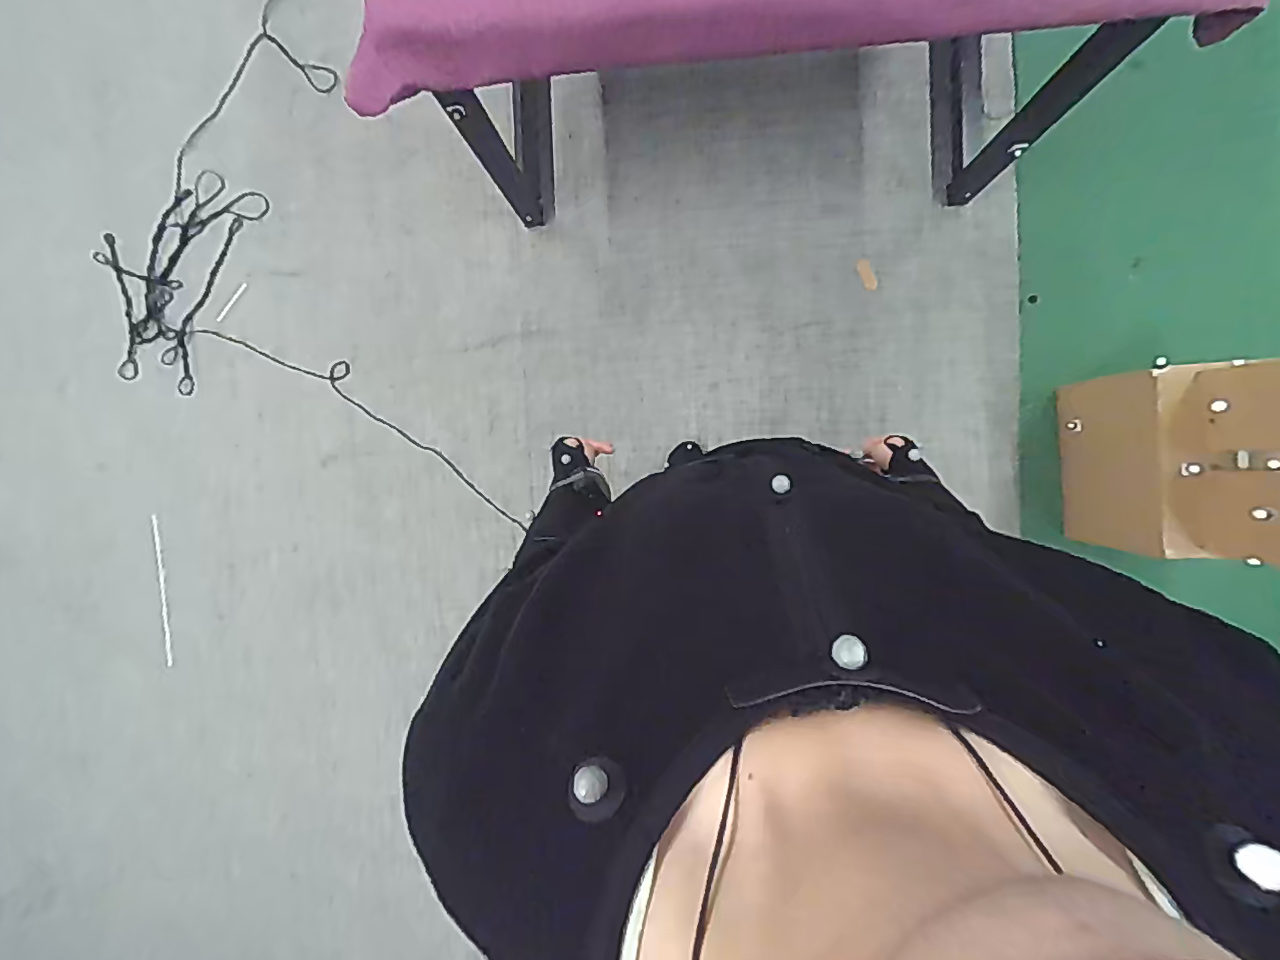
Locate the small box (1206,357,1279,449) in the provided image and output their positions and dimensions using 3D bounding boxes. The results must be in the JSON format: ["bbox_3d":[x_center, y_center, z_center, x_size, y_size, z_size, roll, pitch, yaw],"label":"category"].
[{"bbox_3d":[1.224,-0.149,1.003,0.179,0.176,0.168,-6,92,6],"label":"small box"}]
